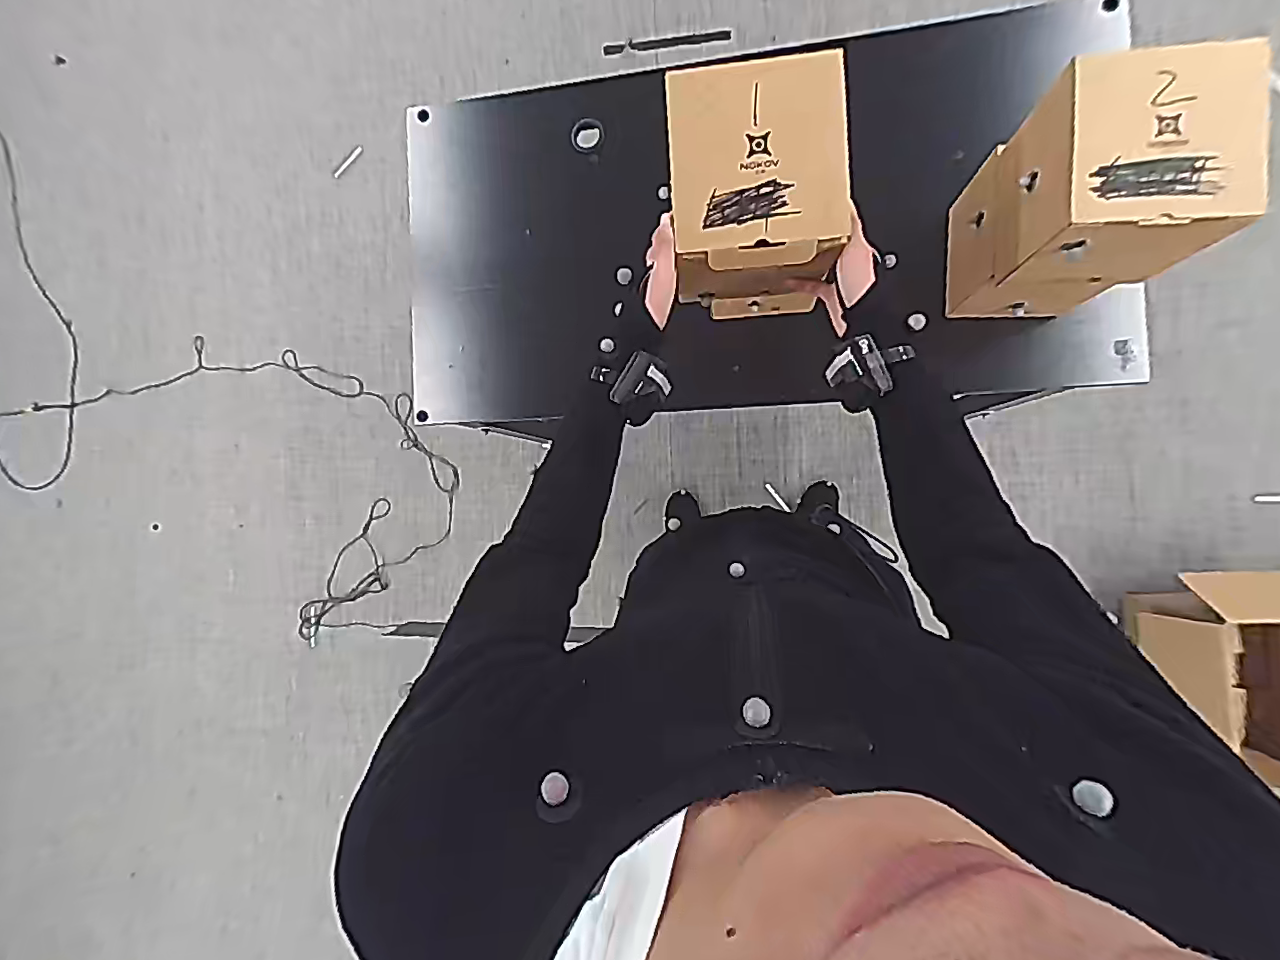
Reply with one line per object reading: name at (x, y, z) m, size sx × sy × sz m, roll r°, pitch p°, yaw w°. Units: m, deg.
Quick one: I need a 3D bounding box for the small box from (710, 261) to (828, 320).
small box at (0.186, -0.362, 0.827) m, size 0.168 × 0.176 × 0.179 m, roll -3°, pitch 89°, yaw 10°

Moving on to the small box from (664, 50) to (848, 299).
small box at (0.116, -0.302, 0.579) m, size 0.168 × 0.176 × 0.179 m, roll -3°, pitch 93°, yaw 6°

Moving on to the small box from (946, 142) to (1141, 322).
small box at (0.551, -0.337, 0.762) m, size 0.168 × 0.176 × 0.179 m, roll 3°, pitch 89°, yaw 11°
